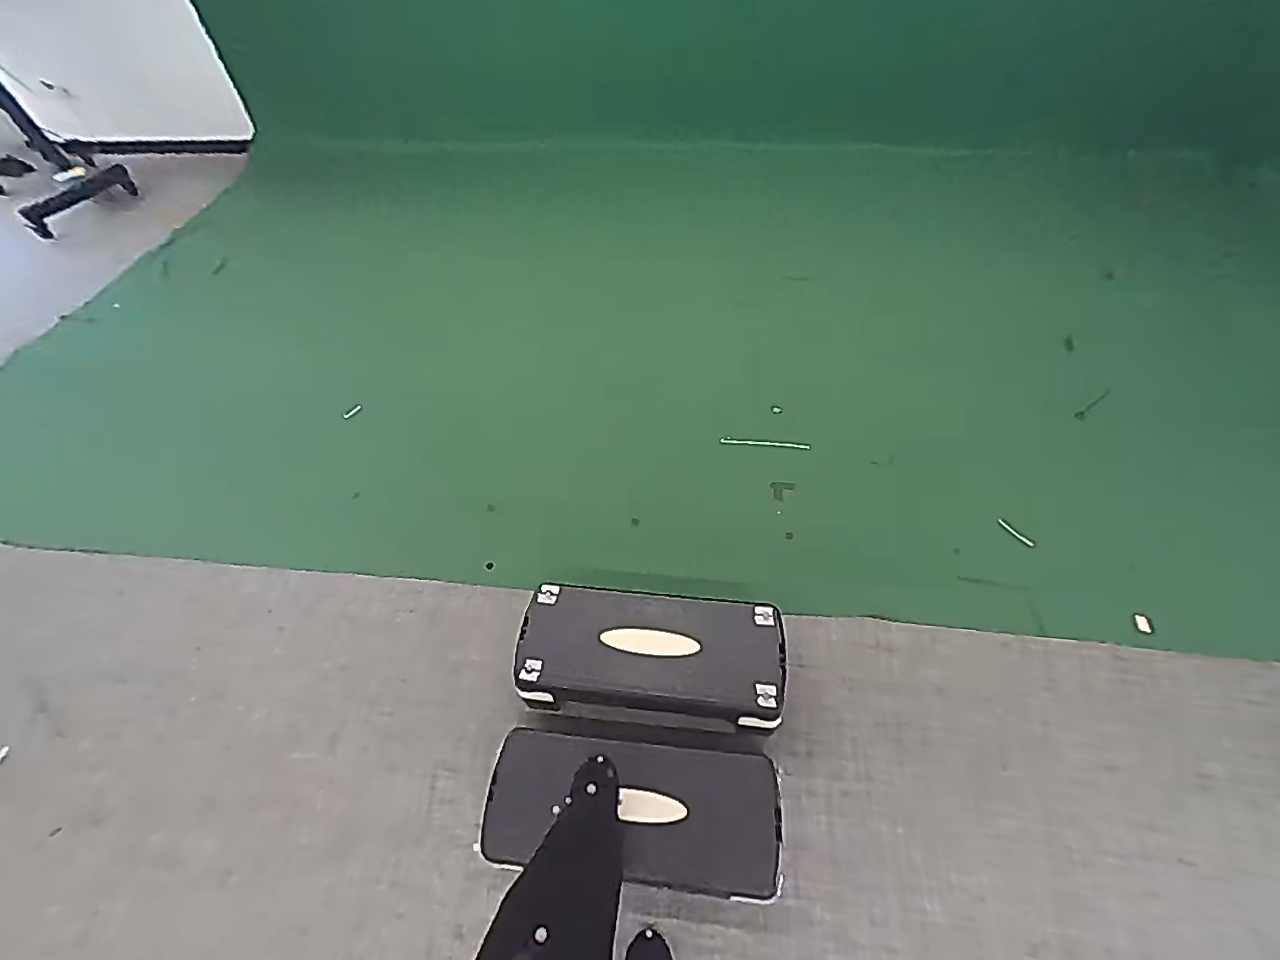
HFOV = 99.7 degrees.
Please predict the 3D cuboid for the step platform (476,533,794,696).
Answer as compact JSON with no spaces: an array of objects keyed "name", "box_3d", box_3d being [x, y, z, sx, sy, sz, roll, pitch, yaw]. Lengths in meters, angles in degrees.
[{"name":"step platform","box_3d":[-0.006,0.312,1.254,0.684,0.204,0.286,3,53,6]}]
